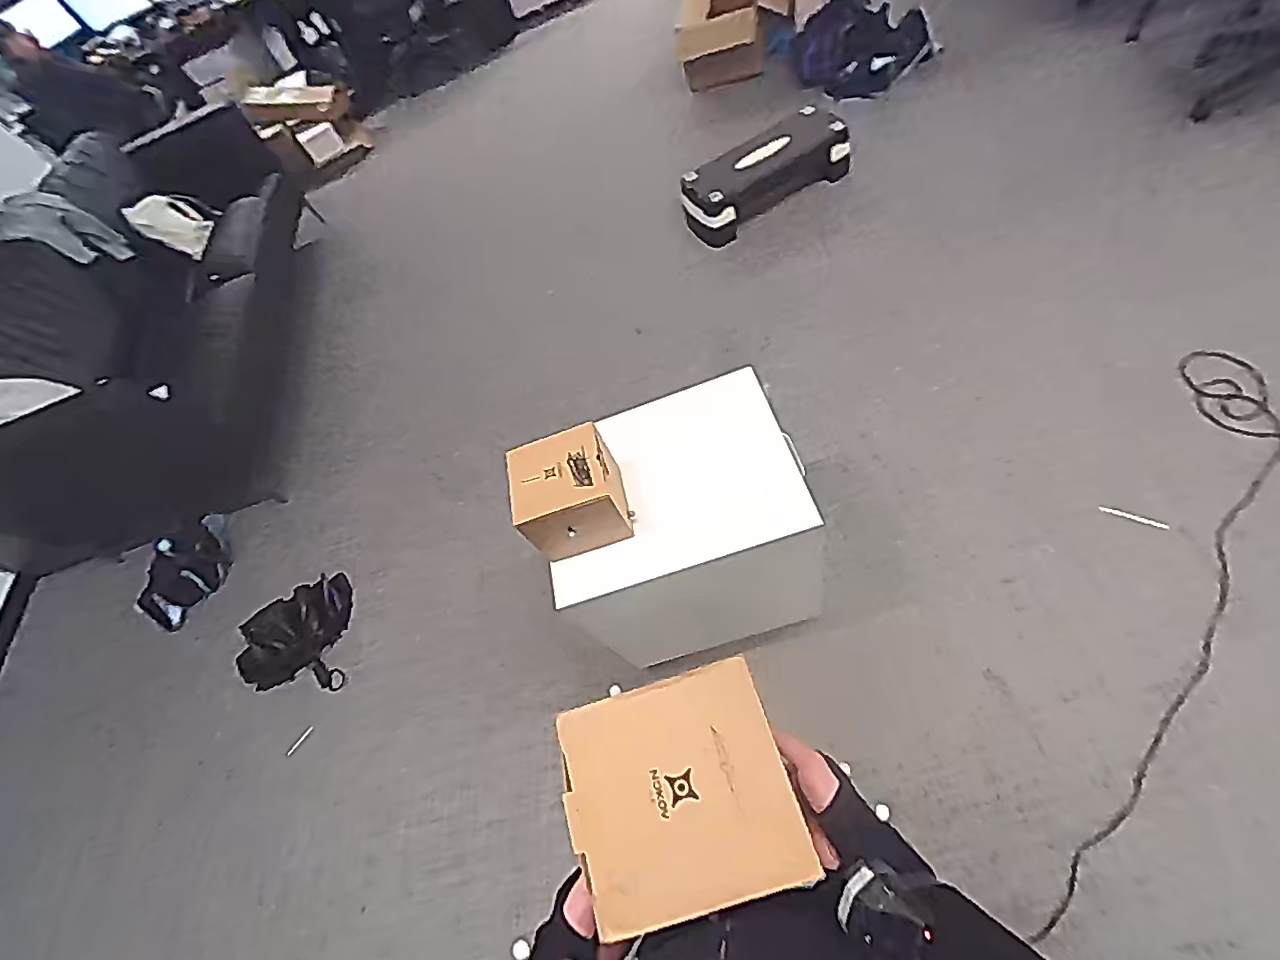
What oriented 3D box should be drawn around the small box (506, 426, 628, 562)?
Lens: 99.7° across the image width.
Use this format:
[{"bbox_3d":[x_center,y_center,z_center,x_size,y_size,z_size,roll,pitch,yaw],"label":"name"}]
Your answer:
[{"bbox_3d":[-0.130,0.032,1.017,0.179,0.176,0.168,-19,56,7],"label":"small box"}]
